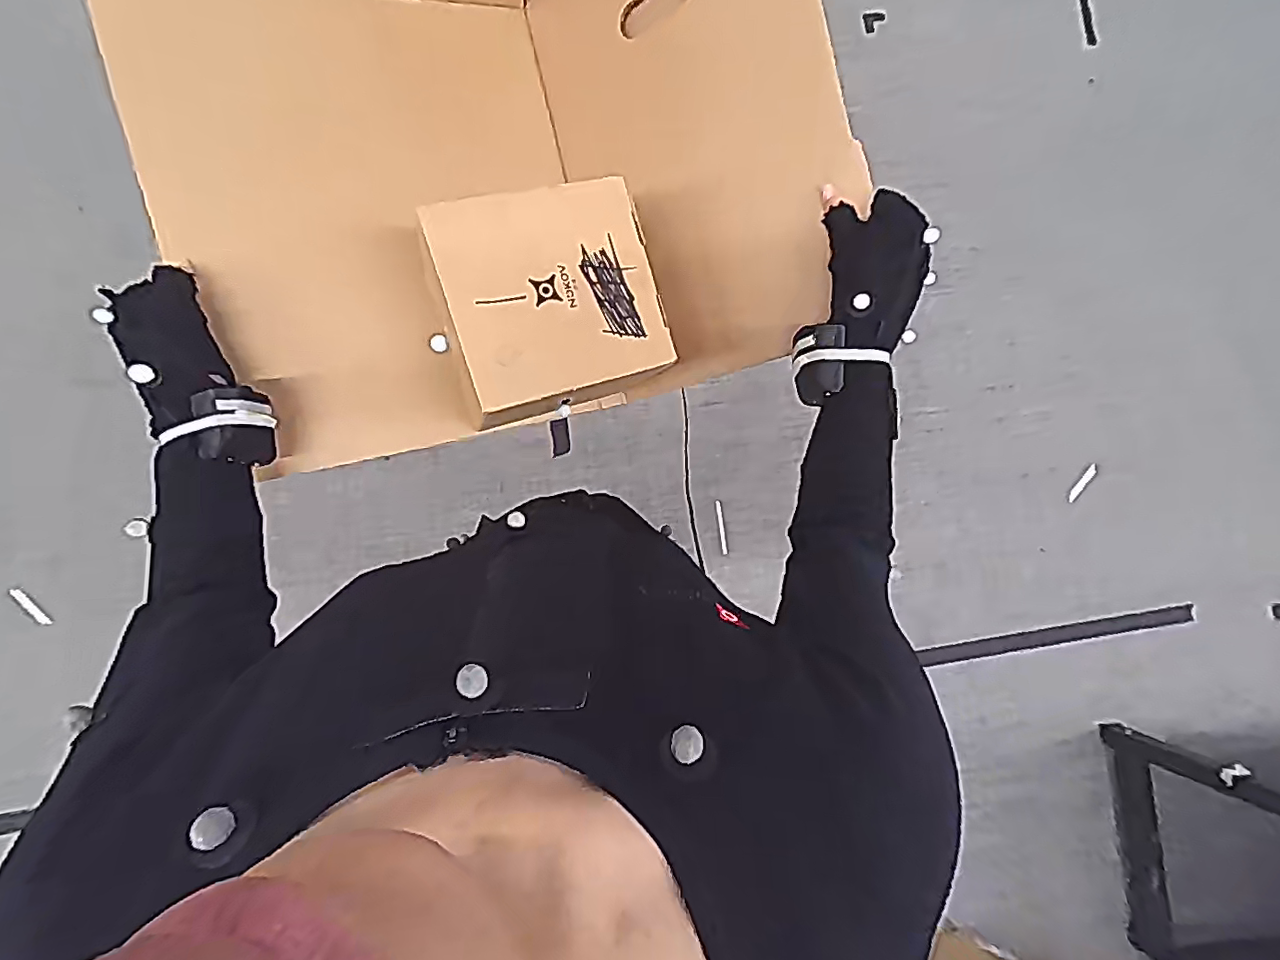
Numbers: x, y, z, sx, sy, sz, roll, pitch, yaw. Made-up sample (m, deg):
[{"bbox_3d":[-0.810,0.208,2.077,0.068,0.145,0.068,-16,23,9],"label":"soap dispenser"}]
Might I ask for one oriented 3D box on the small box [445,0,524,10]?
[{"bbox_3d":[-0.193,-0.588,0.499,0.179,0.176,0.168,-9,92,-19],"label":"small box"}]
